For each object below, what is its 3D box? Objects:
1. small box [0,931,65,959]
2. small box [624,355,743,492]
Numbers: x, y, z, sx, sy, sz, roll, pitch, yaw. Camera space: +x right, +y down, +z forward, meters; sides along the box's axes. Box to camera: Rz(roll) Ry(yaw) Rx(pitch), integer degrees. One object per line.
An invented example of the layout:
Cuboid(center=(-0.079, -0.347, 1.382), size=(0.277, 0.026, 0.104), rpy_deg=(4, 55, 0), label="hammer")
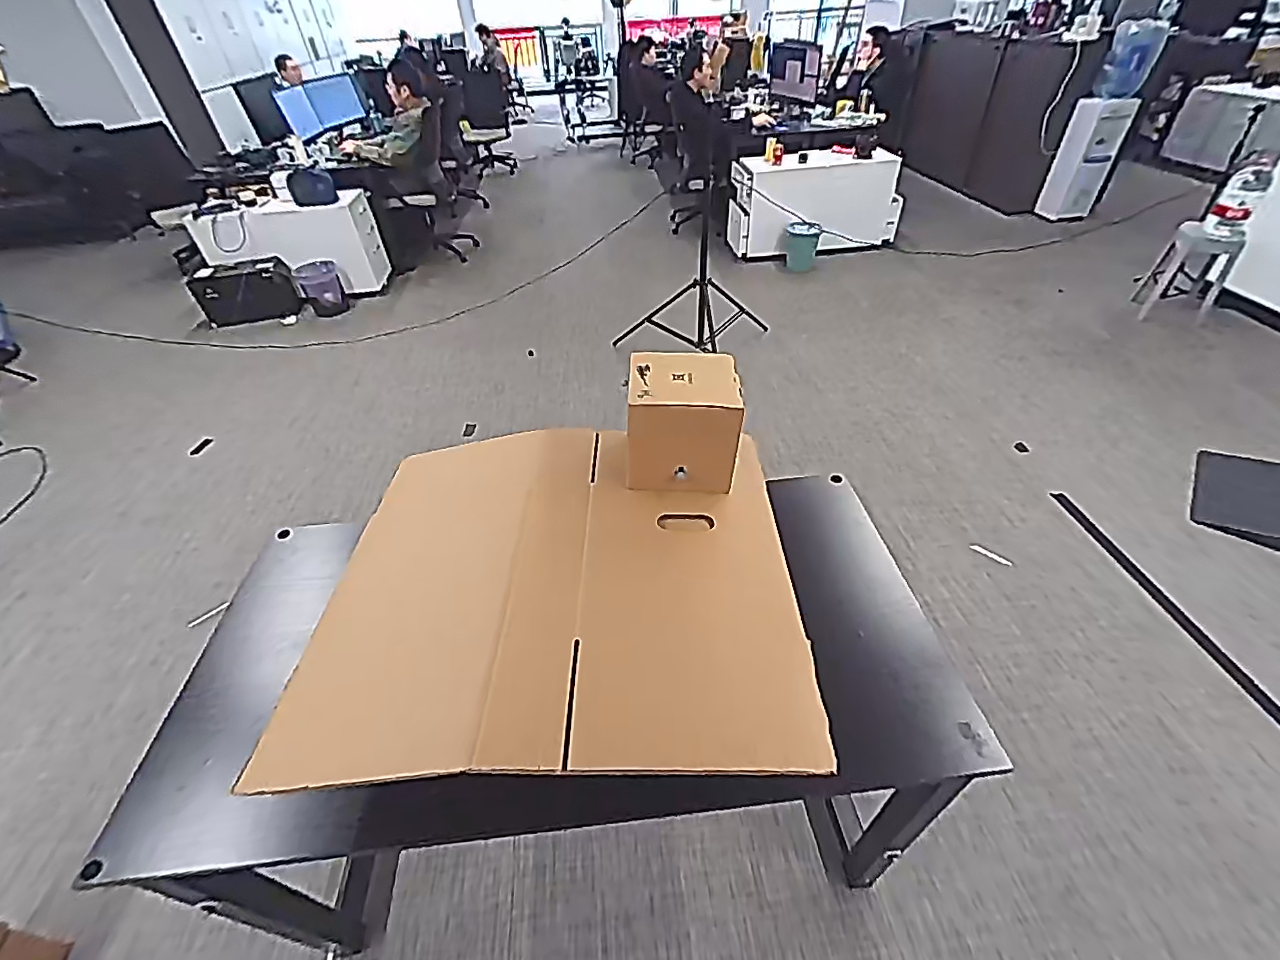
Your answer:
Cuboid(center=(-1.335, 1.047, 1.085), size=(0.168, 0.176, 0.179), rpy_deg=(-9, 42, -5), label="small box")
Cuboid(center=(0.066, -0.093, 0.915), size=(0.179, 0.176, 0.168), rpy_deg=(2, 39, -1), label="small box")
